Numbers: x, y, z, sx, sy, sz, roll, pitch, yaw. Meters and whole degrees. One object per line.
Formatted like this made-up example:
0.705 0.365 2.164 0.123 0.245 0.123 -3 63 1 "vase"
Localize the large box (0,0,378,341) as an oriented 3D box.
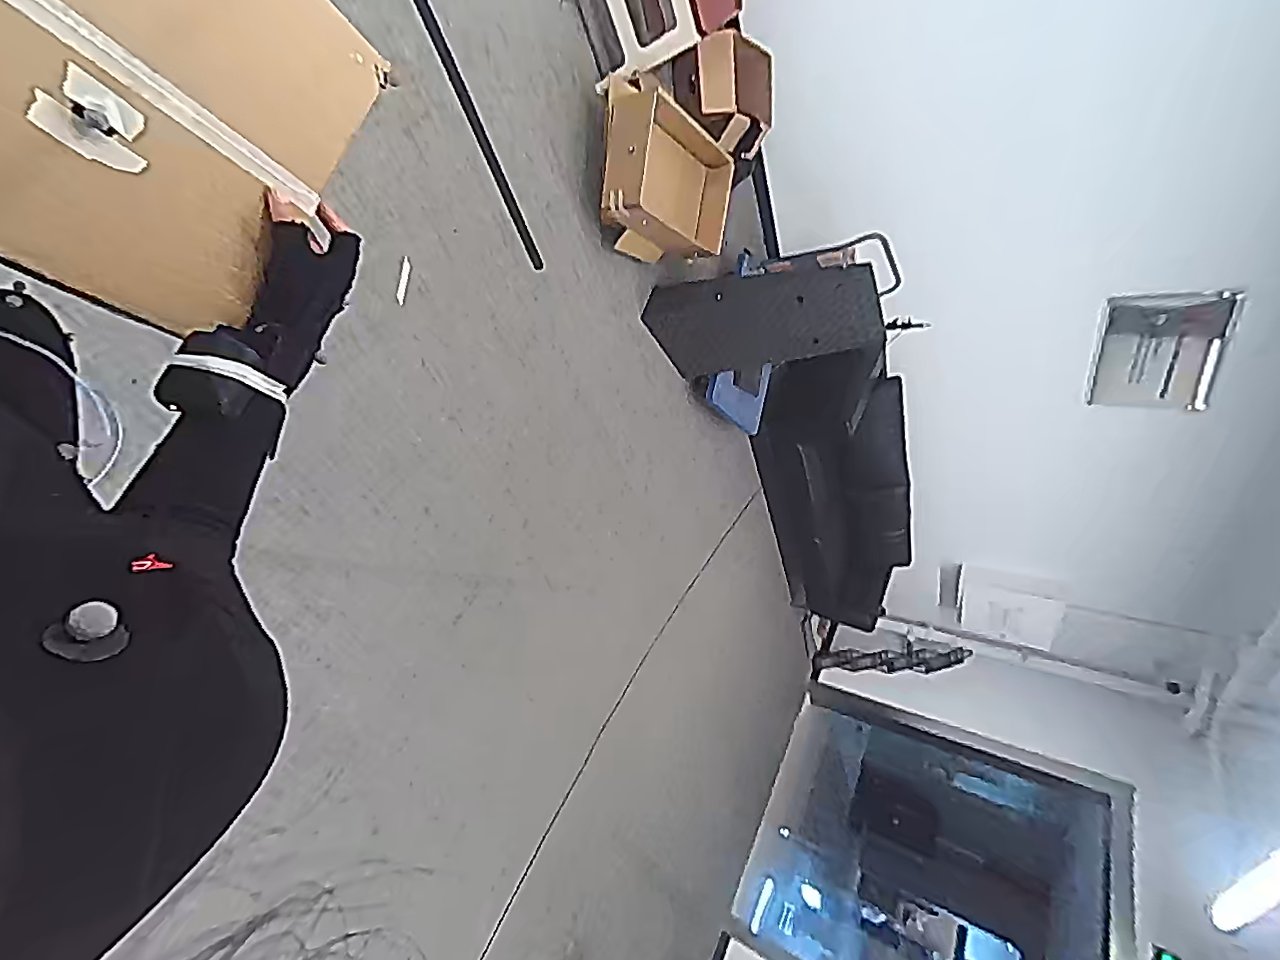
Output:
-0.523 -0.360 0.425 0.408 0.320 0.320 33 80 -55 "large box"
